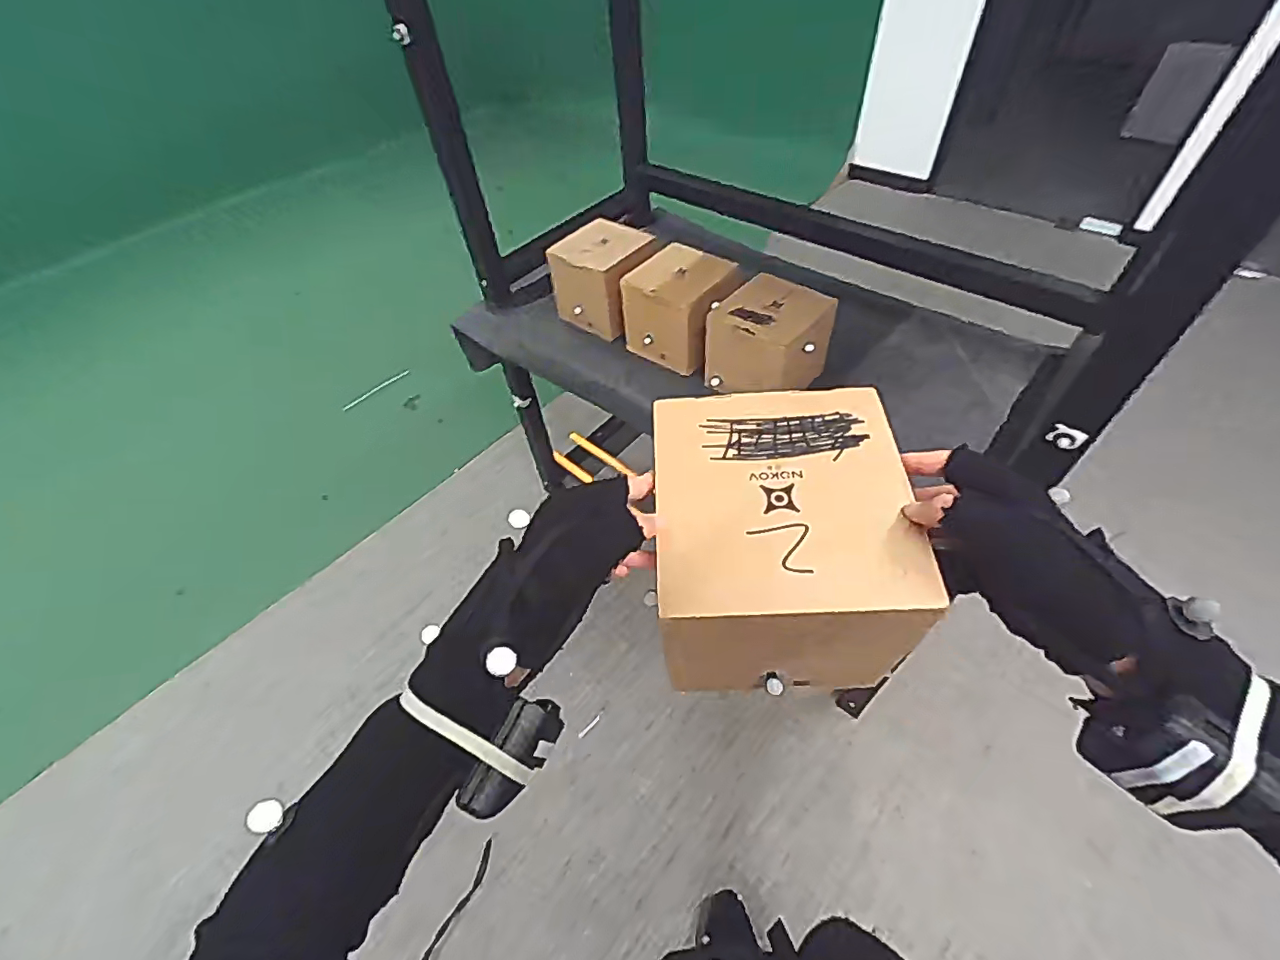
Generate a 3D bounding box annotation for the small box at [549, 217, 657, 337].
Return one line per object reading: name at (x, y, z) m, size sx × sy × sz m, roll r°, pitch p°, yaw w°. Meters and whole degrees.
small box at (-0.077, -0.455, 1.213) m, size 0.168 × 0.176 × 0.179 m, roll 31°, pitch 59°, yaw 26°
